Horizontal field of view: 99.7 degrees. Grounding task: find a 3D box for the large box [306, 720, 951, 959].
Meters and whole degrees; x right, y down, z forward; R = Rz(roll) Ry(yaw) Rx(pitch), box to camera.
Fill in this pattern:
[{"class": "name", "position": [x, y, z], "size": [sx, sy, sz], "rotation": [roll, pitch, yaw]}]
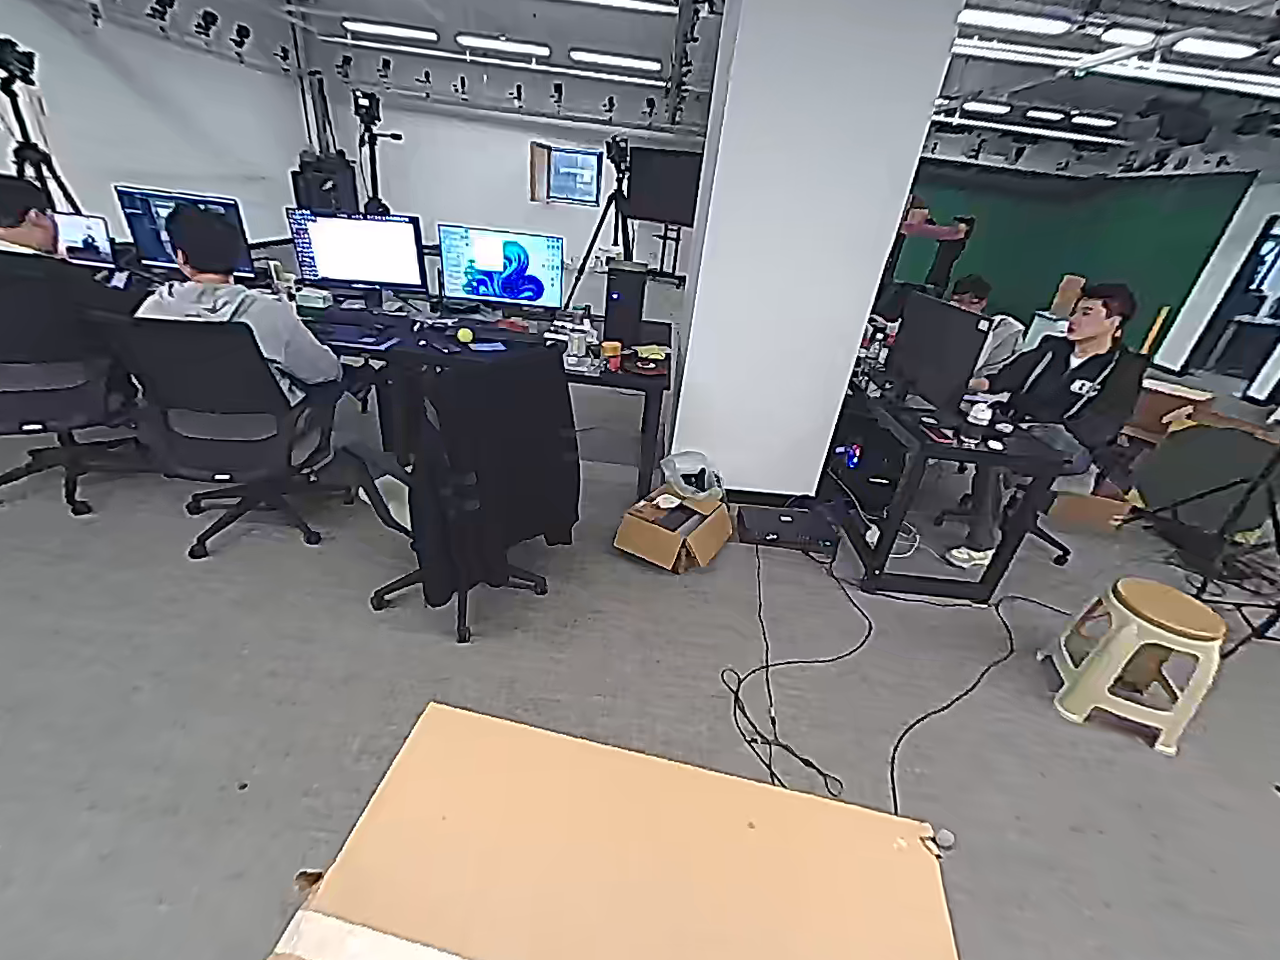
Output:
[{"class": "large box", "position": [-0.020, 0.439, 0.400], "size": [0.408, 0.320, 0.320], "rotation": [10, 37, 7]}]
